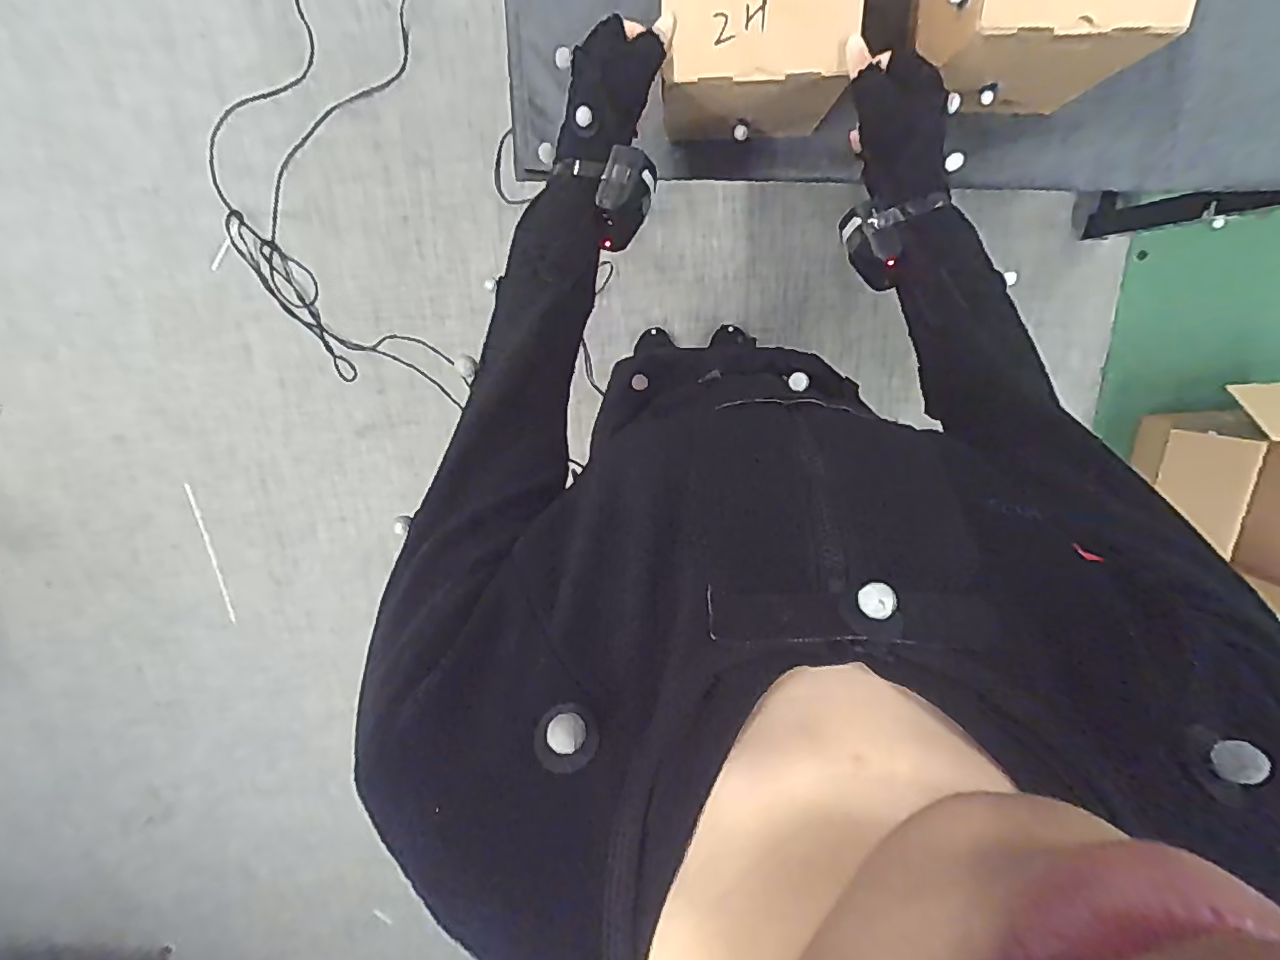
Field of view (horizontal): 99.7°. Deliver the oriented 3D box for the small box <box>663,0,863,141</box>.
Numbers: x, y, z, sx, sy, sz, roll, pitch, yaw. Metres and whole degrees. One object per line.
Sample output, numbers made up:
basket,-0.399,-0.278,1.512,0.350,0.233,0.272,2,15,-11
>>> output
small box,0.105,-0.448,0.515,0.168,0.176,0.179,0,108,4
